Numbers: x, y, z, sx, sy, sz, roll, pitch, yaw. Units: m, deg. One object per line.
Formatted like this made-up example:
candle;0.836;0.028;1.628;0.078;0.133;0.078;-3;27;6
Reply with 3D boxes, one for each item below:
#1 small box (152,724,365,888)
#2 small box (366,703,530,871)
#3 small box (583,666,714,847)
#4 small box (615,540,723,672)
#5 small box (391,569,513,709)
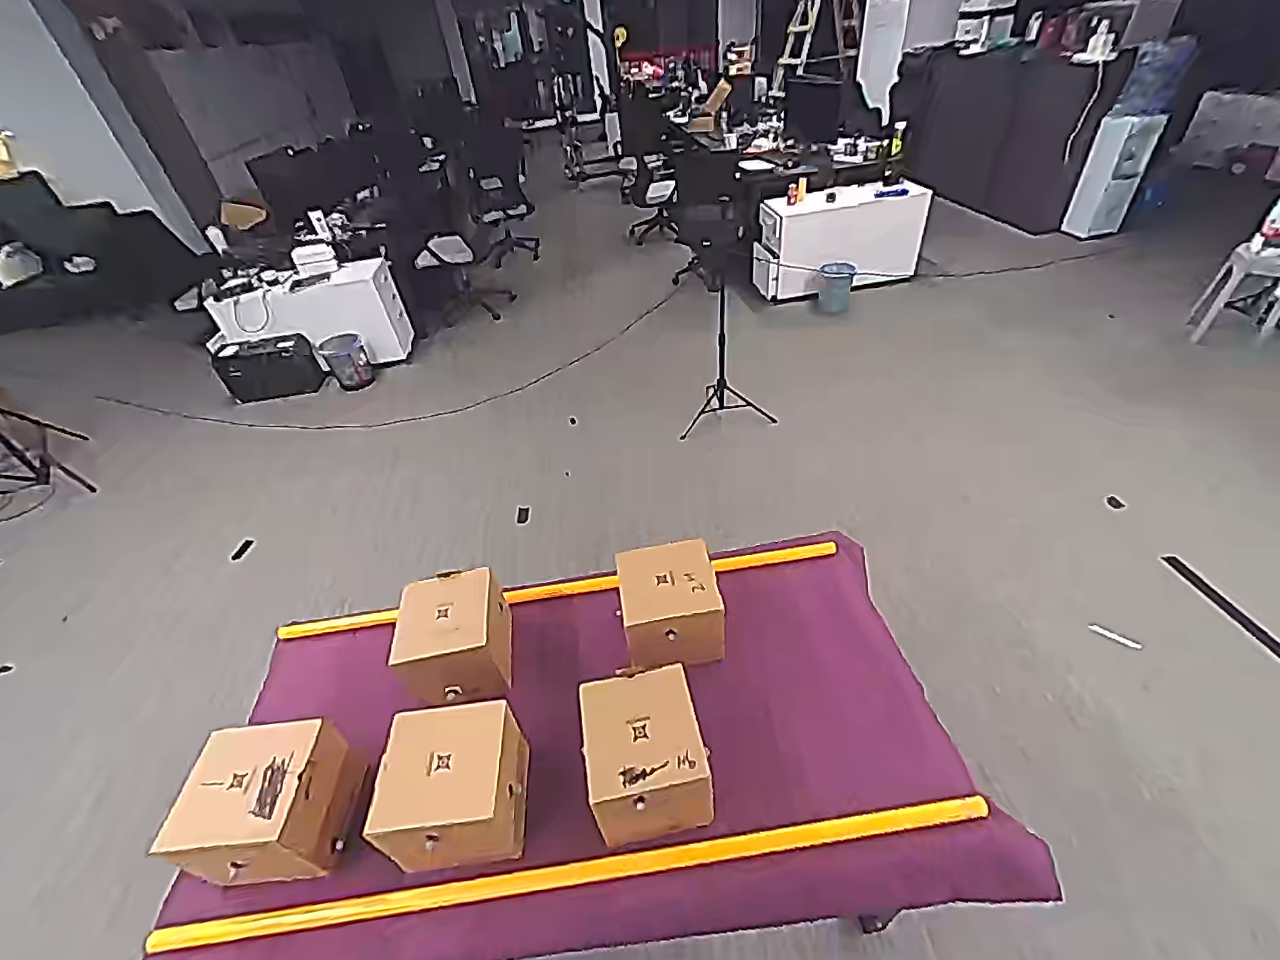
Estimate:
small box;-0.552;0.494;0.820;0.179;0.176;0.168;-6;40;1
small box;-0.271;0.463;0.816;0.179;0.176;0.168;-8;40;0
small box;0.011;0.418;0.823;0.168;0.176;0.179;-11;38;-3
small box;0.056;0.241;1.022;0.179;0.176;0.168;-9;42;-2
small box;-0.342;0.299;1.019;0.168;0.176;0.179;-11;42;-3
